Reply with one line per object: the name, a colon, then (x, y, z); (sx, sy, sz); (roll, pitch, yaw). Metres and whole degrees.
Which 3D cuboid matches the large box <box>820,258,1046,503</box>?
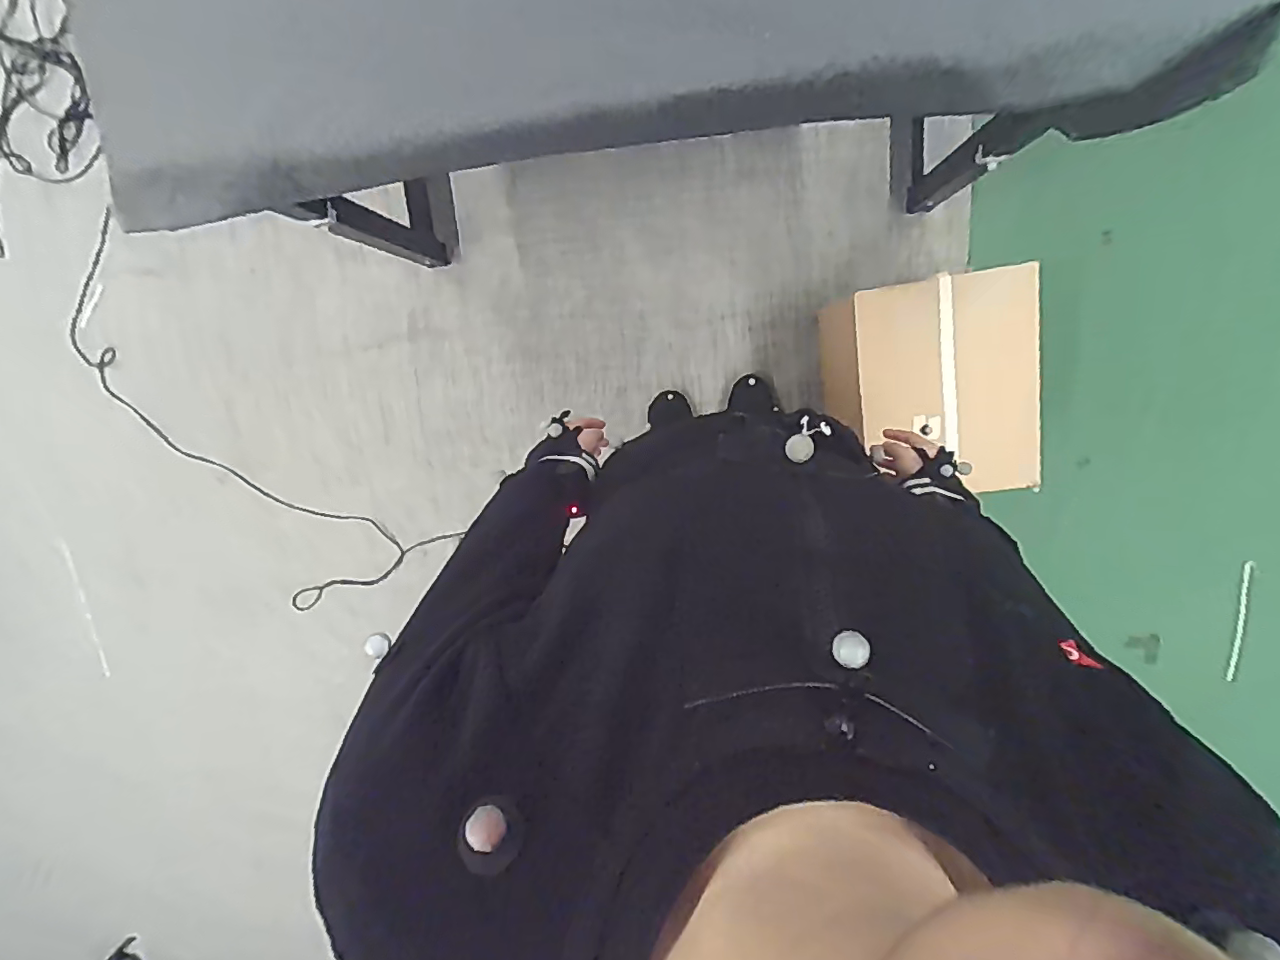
large box: (0.583, -0.201, 1.125); (0.320, 0.320, 0.408); (-8, 102, 8)
